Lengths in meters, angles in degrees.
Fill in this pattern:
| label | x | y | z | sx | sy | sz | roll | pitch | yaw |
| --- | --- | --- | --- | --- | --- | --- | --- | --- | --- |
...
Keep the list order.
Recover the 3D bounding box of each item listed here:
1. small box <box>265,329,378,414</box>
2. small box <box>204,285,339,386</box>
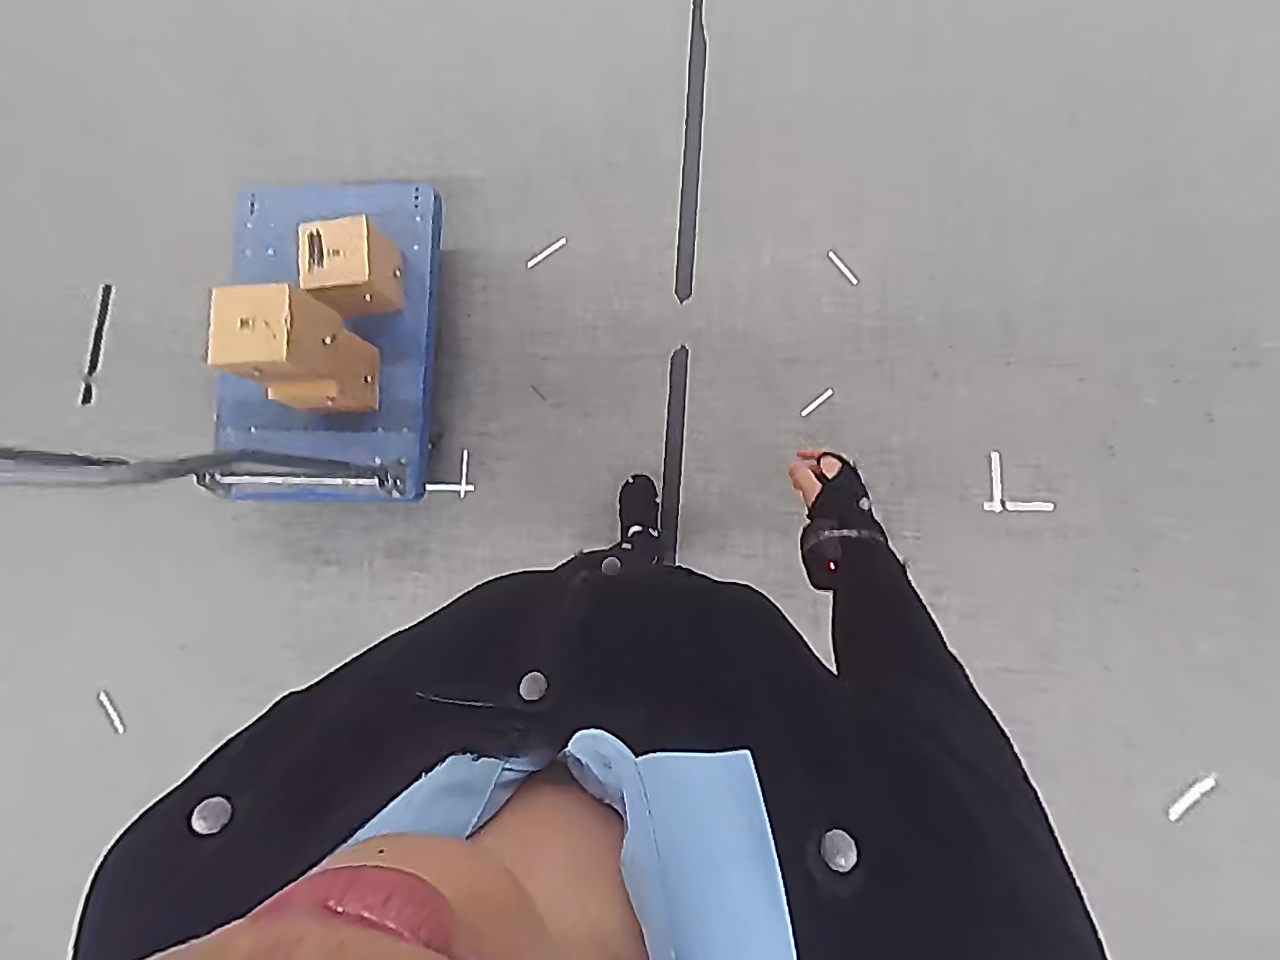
| label | x | y | z | sx | sy | sz | roll | pitch | yaw |
| --- | --- | --- | --- | --- | --- | --- | --- | --- | --- |
| small box | -0.782 | -0.263 | 1.339 | 0.179 | 0.176 | 0.168 | -3 | 84 | 4 |
| small box | -0.795 | -0.306 | 1.178 | 0.179 | 0.176 | 0.168 | -2 | 84 | 4 |
